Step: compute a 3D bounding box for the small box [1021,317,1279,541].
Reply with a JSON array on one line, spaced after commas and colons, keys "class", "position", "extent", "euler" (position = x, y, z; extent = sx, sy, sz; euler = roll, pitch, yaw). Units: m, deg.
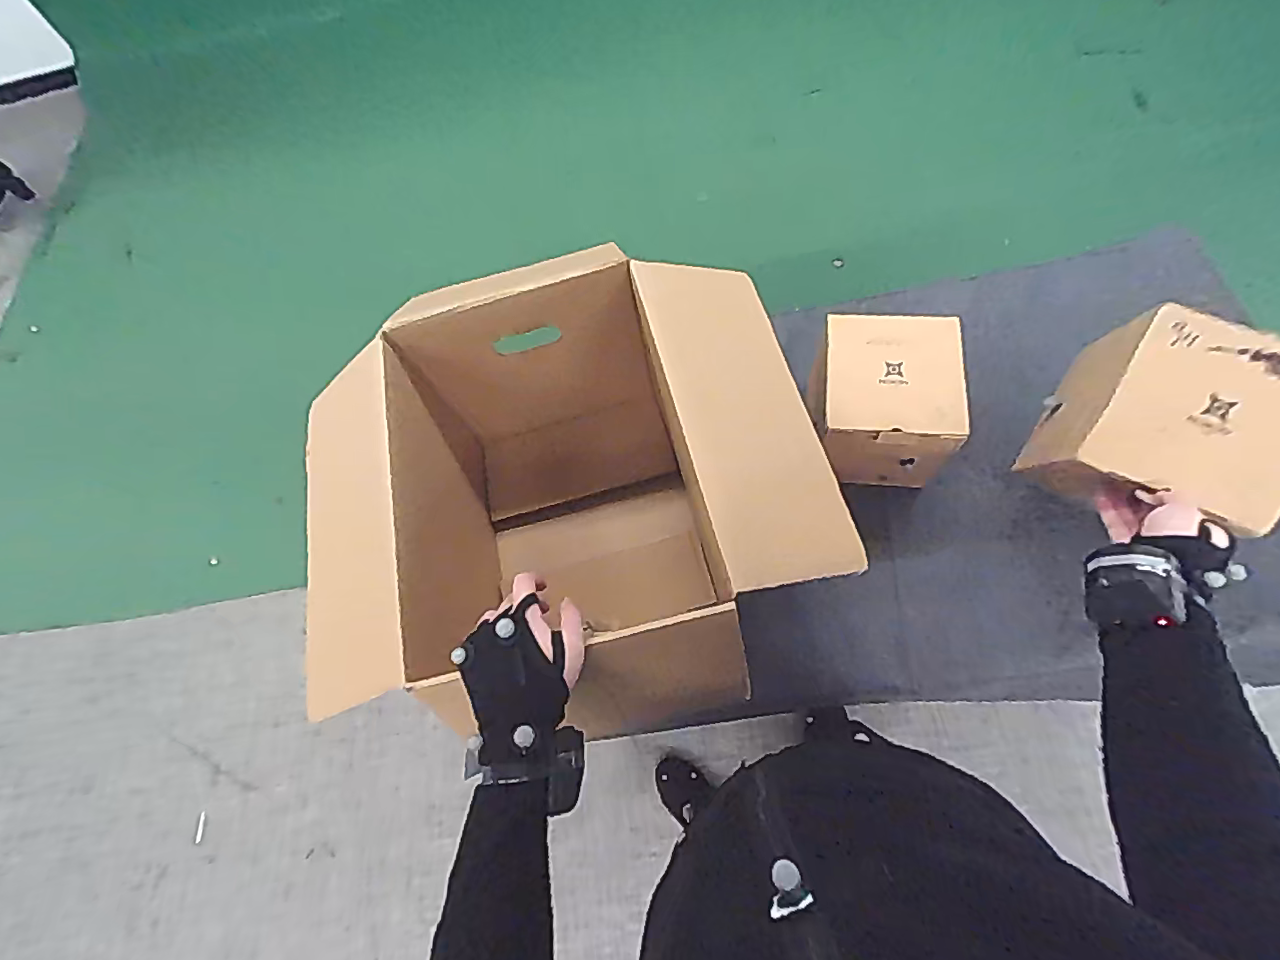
[{"class": "small box", "position": [0.570, -0.045, 0.605], "extent": [0.168, 0.176, 0.179], "euler": [29, 91, 16]}]
